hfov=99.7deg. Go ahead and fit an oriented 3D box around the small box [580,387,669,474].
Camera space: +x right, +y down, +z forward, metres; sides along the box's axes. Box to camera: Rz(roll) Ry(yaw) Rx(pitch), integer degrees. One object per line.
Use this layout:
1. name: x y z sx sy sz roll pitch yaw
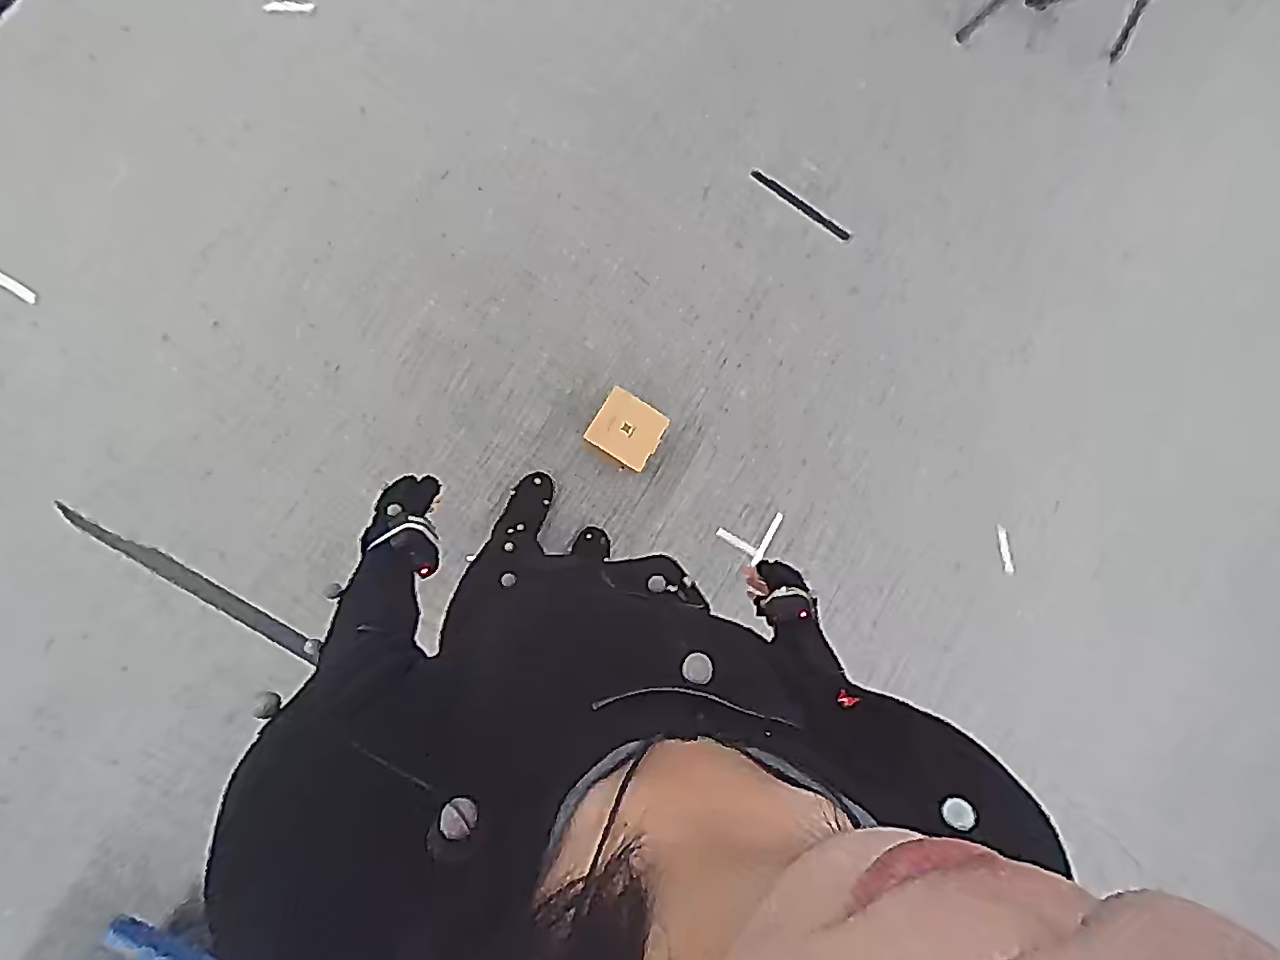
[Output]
1. small box: -0.048 -0.126 1.473 0.179 0.176 0.168 32 82 -5
